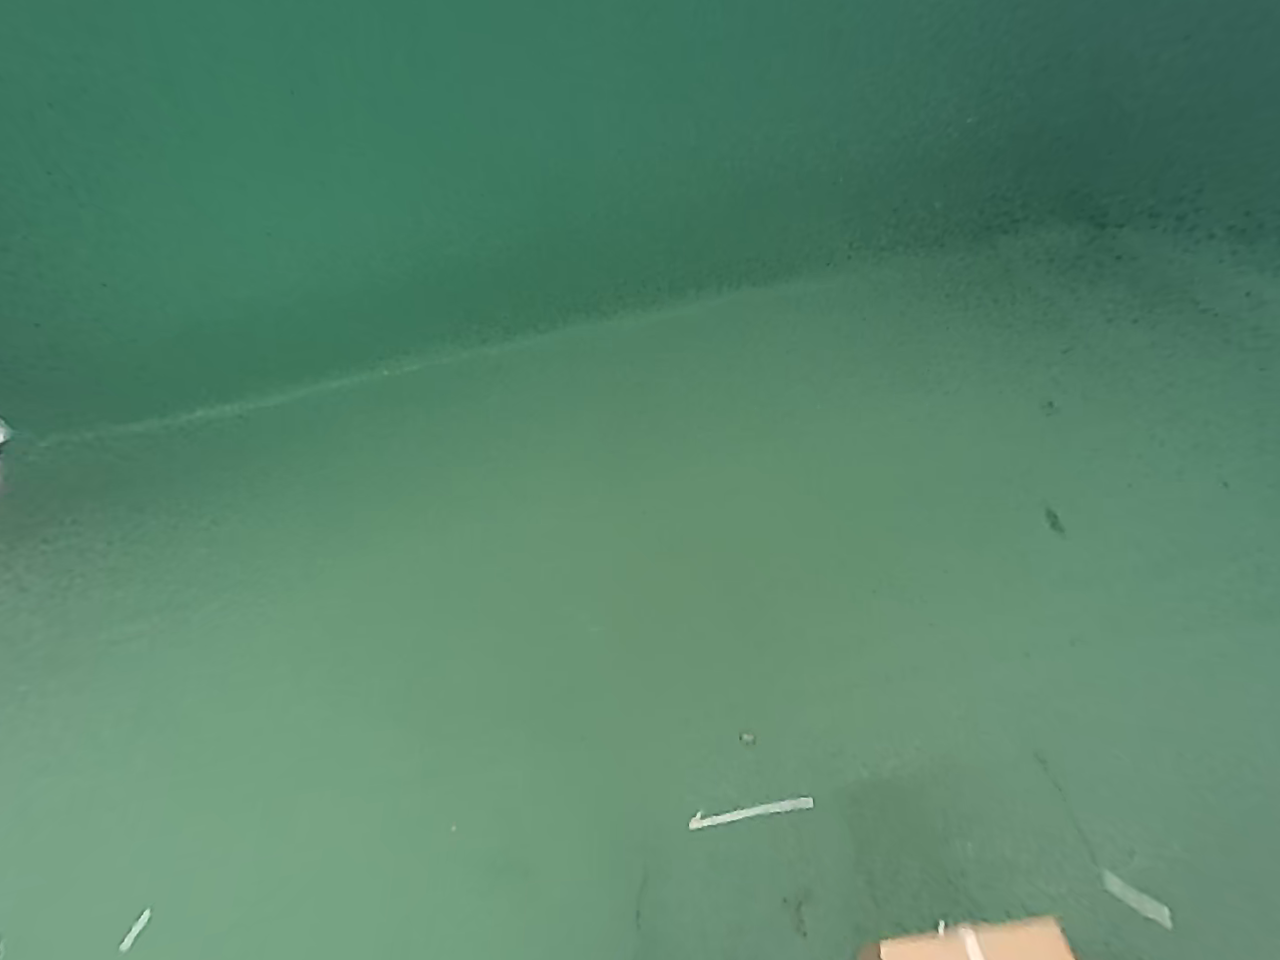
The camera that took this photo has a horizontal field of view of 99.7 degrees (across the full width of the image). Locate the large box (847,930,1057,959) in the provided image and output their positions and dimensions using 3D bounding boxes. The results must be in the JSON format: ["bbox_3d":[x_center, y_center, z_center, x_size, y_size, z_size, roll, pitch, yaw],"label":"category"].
[{"bbox_3d":[0.599,1.062,0.932,0.320,0.320,0.408,-9,47,2],"label":"large box"}]
